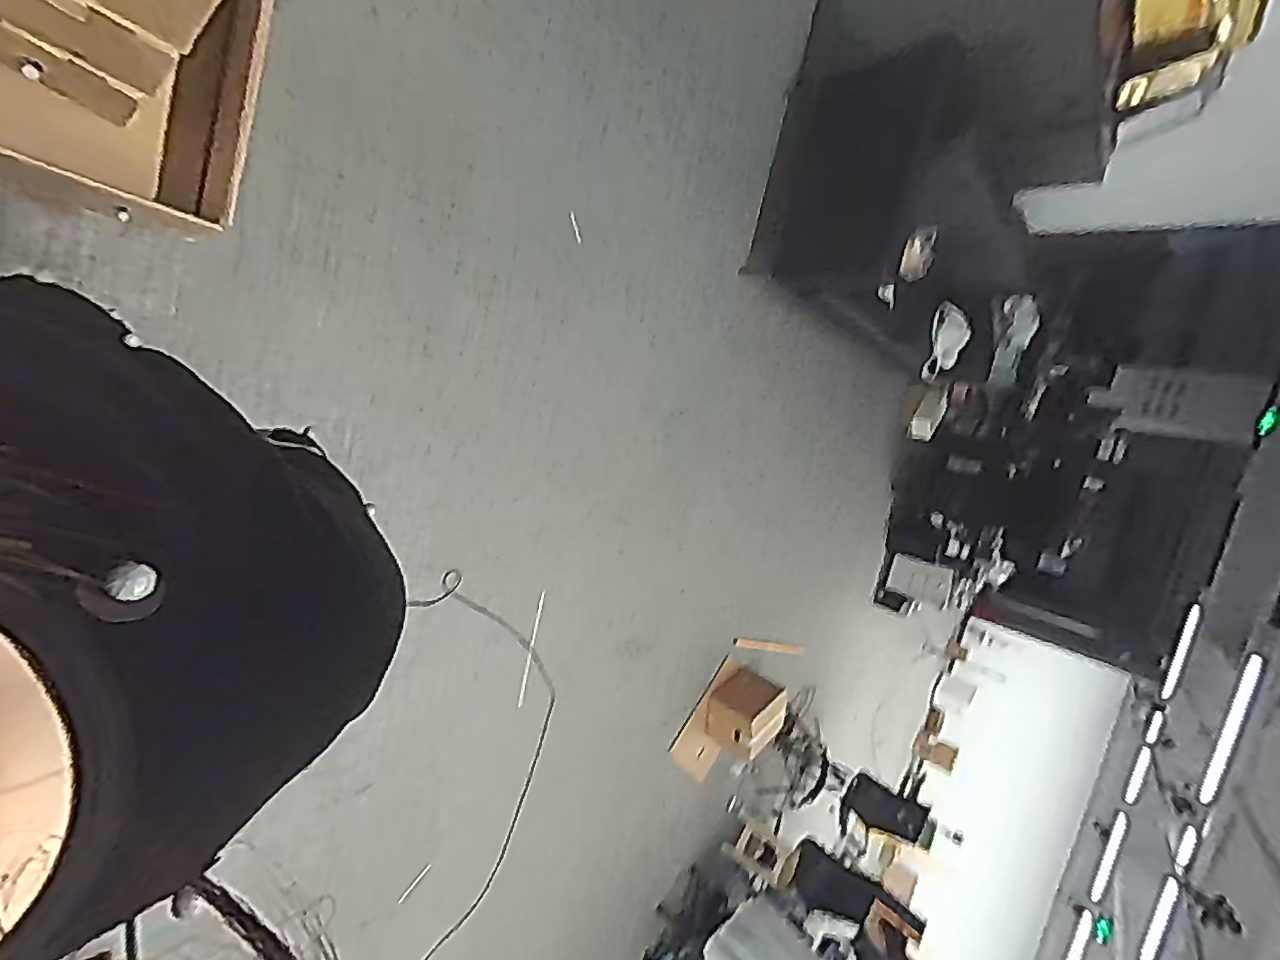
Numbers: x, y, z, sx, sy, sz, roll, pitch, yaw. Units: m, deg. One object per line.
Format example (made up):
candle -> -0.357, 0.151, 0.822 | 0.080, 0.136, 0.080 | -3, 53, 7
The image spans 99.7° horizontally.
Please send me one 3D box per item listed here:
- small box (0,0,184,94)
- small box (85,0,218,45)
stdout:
small box -> -0.510, -0.495, 0.486 | 0.168, 0.176, 0.179 | 13, 93, -50
small box -> -0.393, -0.458, 0.378 | 0.179, 0.176, 0.168 | 12, 95, -51
